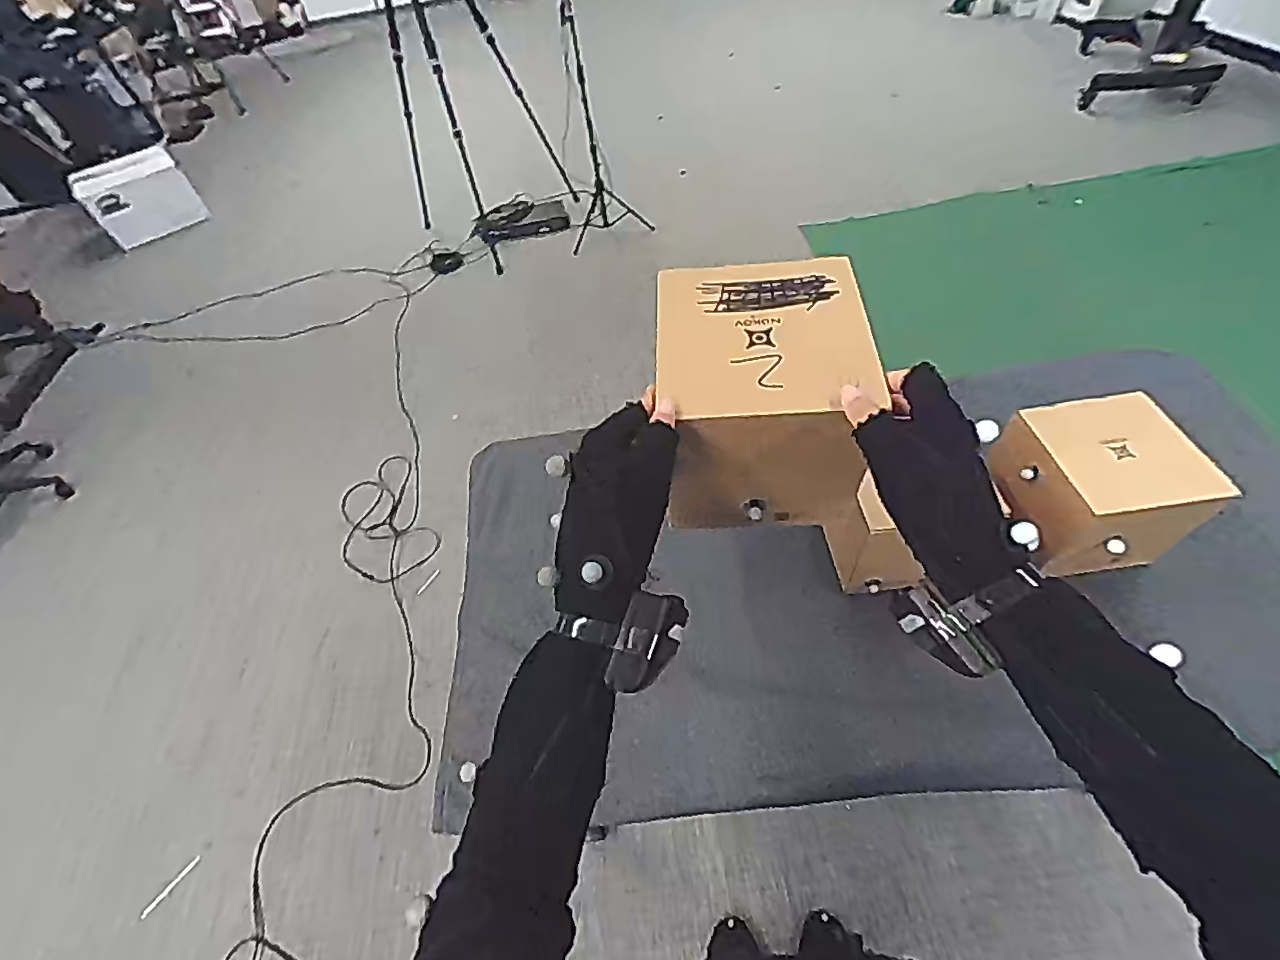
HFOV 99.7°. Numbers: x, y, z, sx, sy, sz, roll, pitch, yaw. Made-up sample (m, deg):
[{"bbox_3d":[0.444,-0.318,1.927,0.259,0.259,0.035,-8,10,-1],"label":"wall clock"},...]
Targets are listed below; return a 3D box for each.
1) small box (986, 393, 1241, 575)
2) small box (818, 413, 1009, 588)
[{"bbox_3d":[0.601,0.014,0.725,0.168,0.176,0.179,-9,51,2],"label":"small box"},{"bbox_3d":[0.355,0.036,0.743,0.168,0.176,0.179,-7,51,3],"label":"small box"}]
